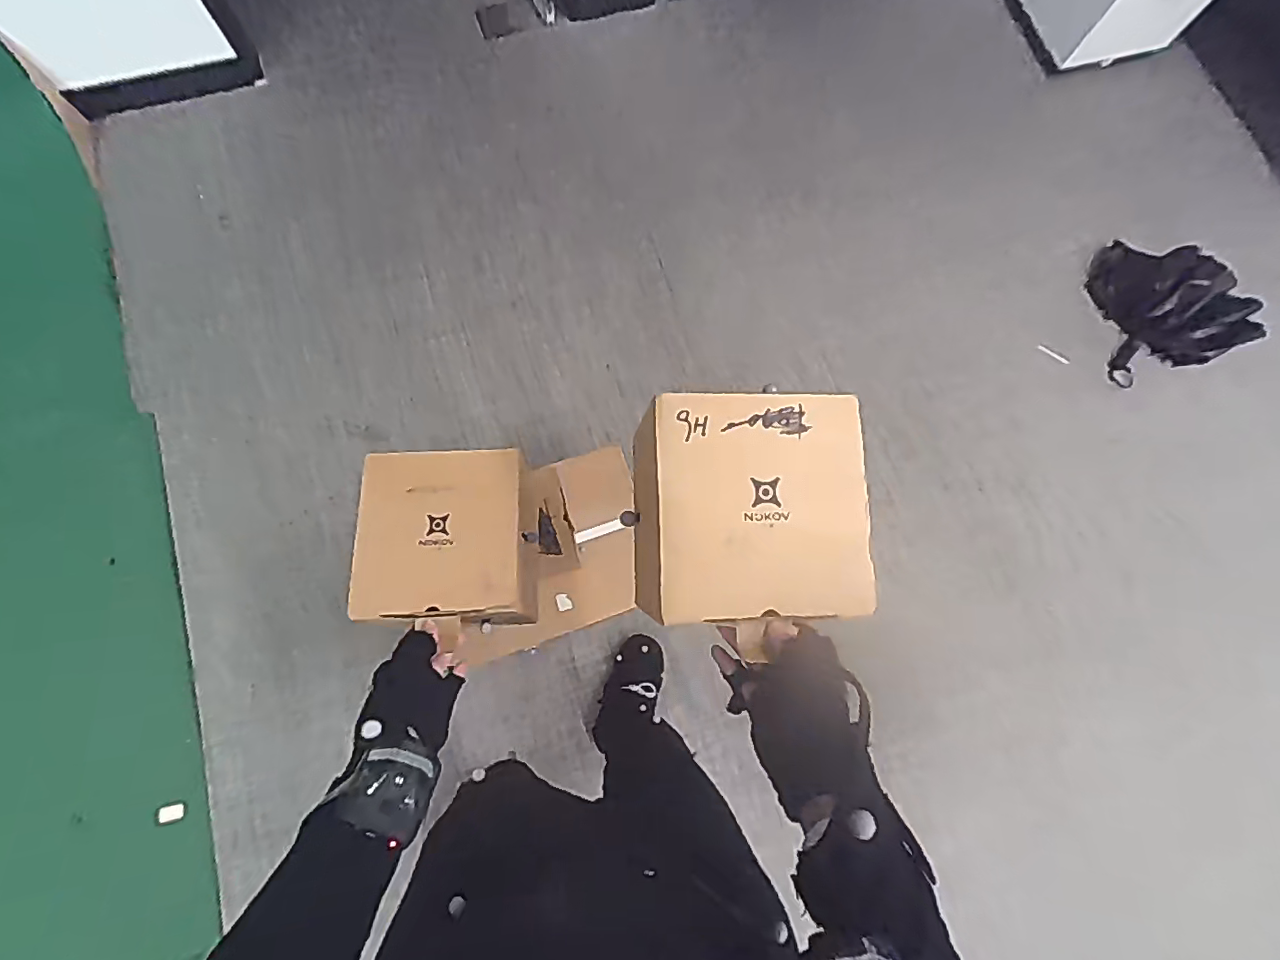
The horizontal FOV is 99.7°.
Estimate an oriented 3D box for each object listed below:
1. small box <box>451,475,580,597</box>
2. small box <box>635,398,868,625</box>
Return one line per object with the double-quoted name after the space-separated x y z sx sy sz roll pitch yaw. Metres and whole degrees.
-0.201 0.097 0.911 0.179 0.176 0.168 -11 81 -7 "small box"
0.086 0.031 0.499 0.168 0.176 0.179 -1 82 -7 "small box"
